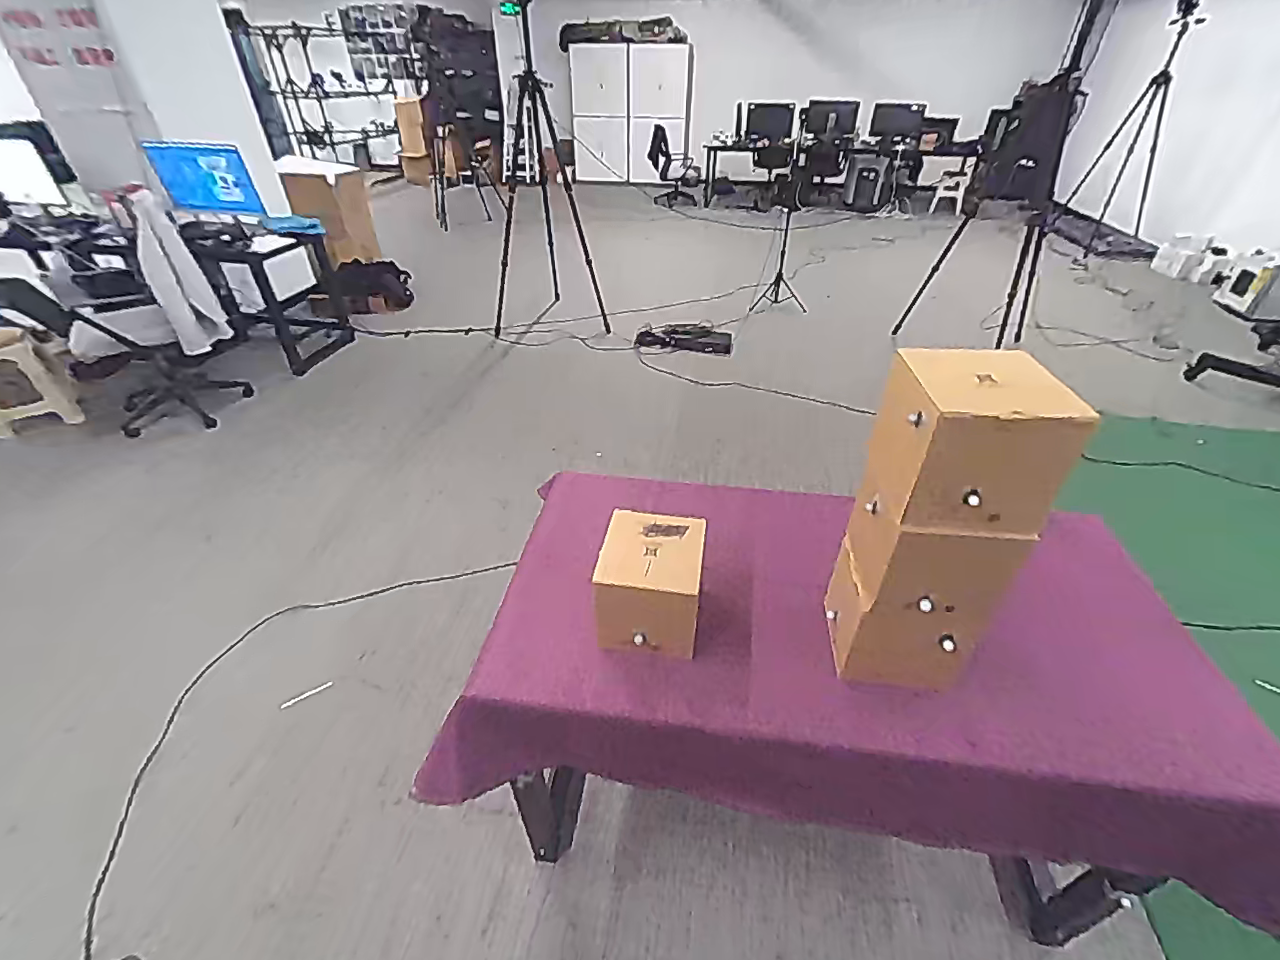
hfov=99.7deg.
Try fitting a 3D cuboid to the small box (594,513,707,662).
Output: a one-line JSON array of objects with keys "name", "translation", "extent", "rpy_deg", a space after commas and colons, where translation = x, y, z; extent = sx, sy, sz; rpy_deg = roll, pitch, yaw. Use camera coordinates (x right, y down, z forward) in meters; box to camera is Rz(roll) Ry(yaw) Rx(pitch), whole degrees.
[{"name": "small box", "translation": [0.021, 0.182, 0.930], "extent": [0.168, 0.176, 0.179], "rpy_deg": [6, 38, 8]}]

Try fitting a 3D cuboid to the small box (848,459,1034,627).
[{"name": "small box", "translation": [0.414, 0.085, 0.784], "extent": [0.168, 0.176, 0.179], "rpy_deg": [3, 37, 6]}]

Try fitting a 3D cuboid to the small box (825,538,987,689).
[{"name": "small box", "translation": [0.415, 0.217, 0.880], "extent": [0.179, 0.176, 0.168], "rpy_deg": [4, 36, 7]}]

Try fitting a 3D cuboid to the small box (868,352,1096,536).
[{"name": "small box", "translation": [0.411, -0.049, 0.693], "extent": [0.168, 0.176, 0.179], "rpy_deg": [2, 38, 4]}]
